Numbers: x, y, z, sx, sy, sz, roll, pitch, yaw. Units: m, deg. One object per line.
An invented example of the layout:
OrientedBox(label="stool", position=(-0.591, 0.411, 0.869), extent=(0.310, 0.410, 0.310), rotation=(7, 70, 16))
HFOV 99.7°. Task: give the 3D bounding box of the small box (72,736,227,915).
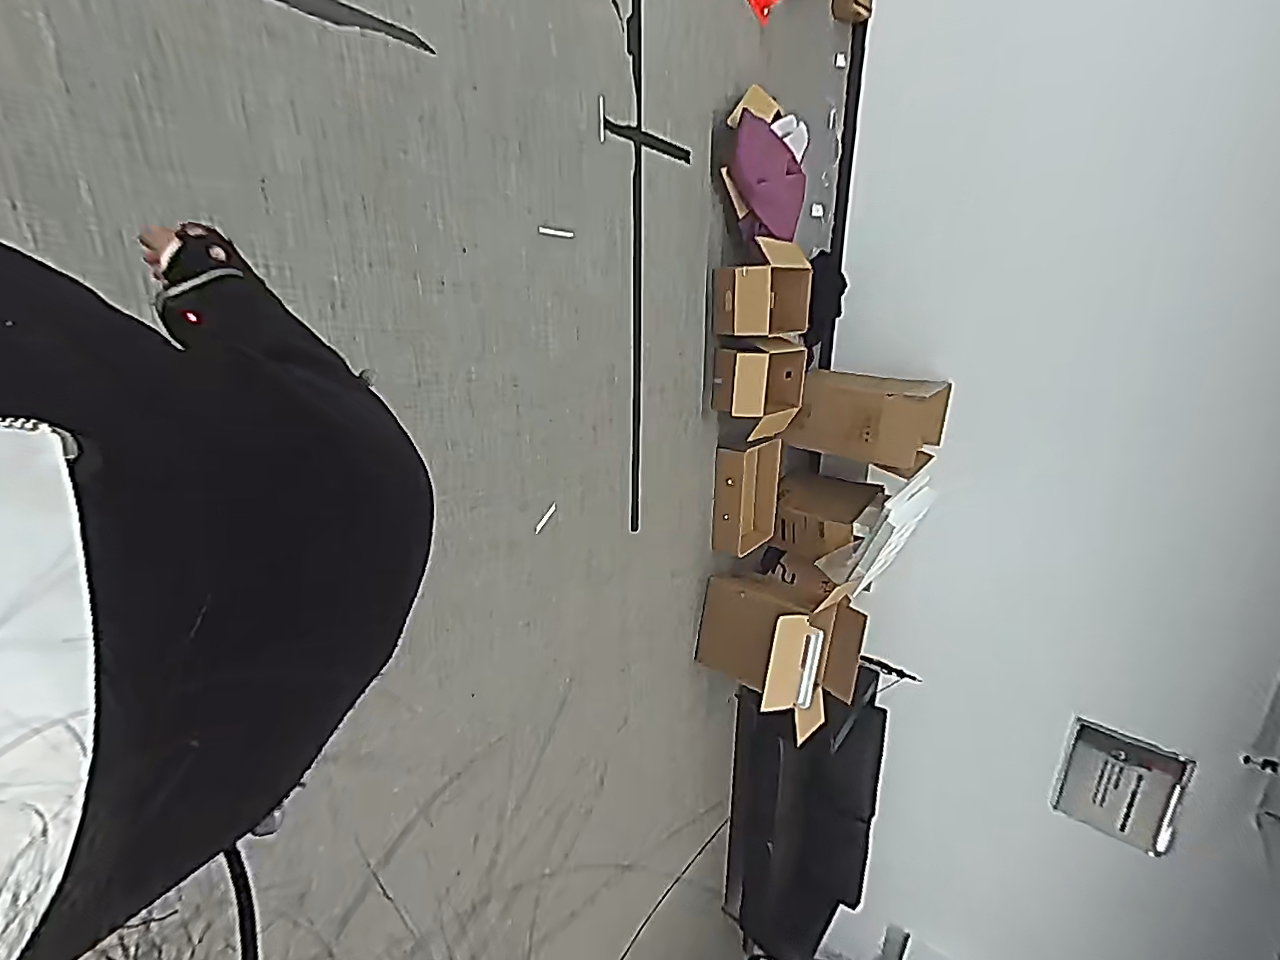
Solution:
OrientedBox(label="small box", position=(-0.890, 0.614, 0.984), extent=(0.168, 0.176, 0.179), rotation=(-21, 117, -46))
